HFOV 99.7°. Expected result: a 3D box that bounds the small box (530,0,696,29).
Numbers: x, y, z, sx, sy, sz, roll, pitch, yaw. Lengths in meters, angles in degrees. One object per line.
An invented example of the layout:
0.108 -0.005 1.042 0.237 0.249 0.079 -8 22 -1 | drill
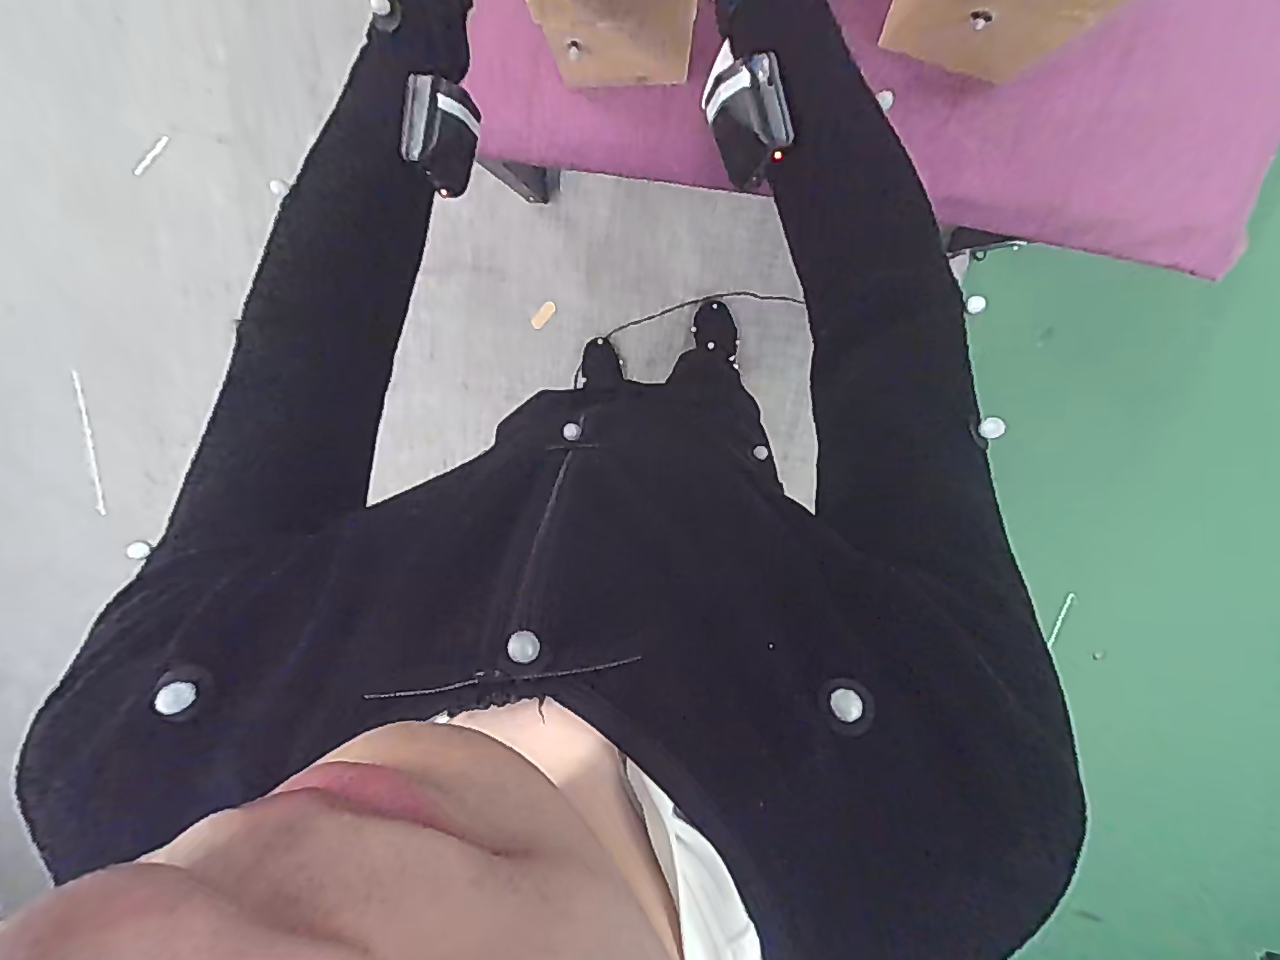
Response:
-0.025 -0.541 0.482 0.179 0.176 0.168 1 107 1 | small box

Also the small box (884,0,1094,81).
0.415 -0.598 0.620 0.179 0.176 0.168 14 108 -4 | small box
